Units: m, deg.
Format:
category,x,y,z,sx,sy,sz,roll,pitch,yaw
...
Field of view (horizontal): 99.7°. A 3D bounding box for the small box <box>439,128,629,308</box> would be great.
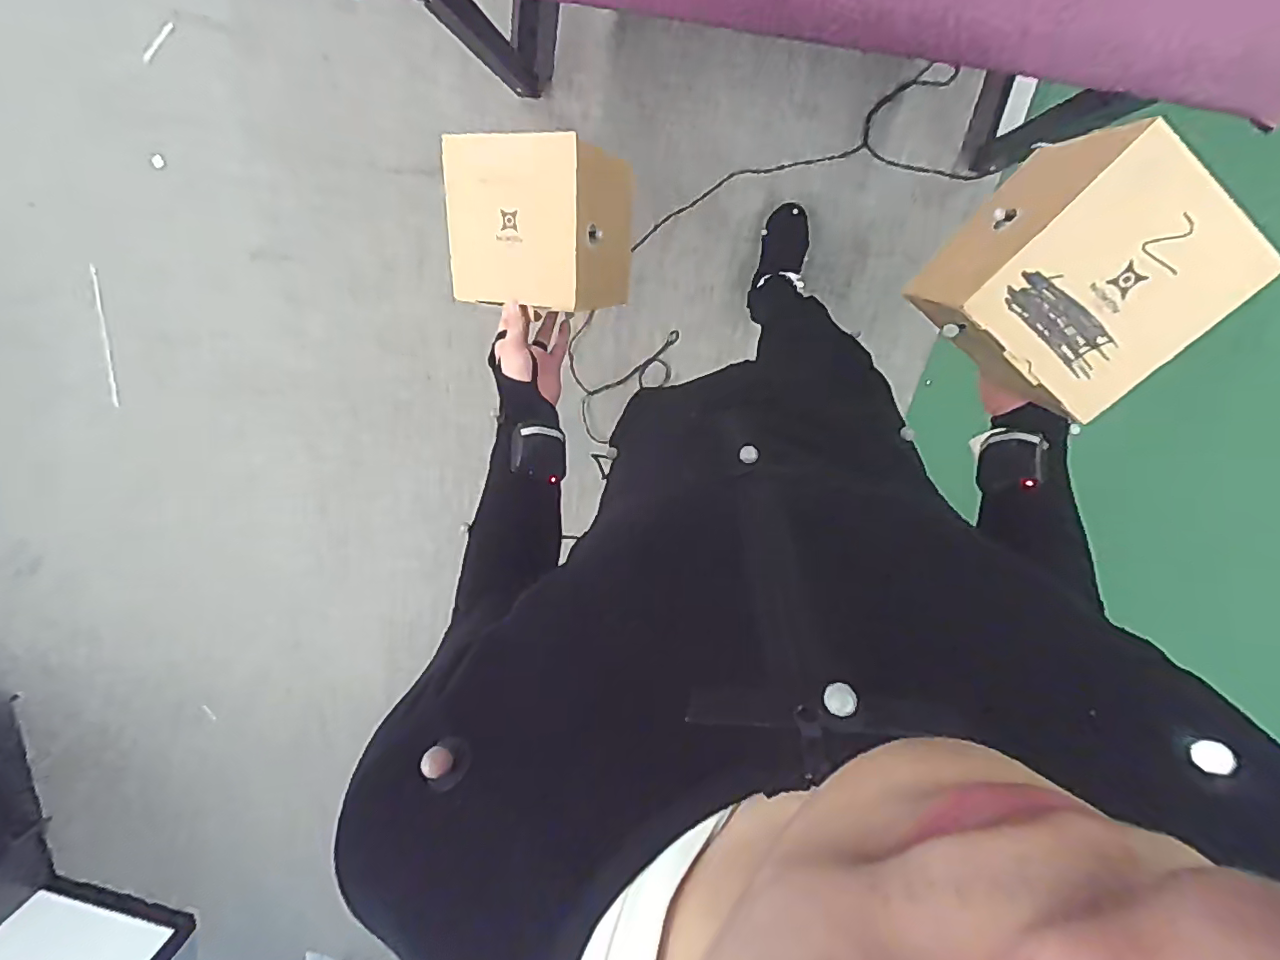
category,x,y,z,sx,sy,sz,roll,pitch,yaw
small box,-0.119,-0.316,0.666,0.168,0.176,0.179,11,114,17
